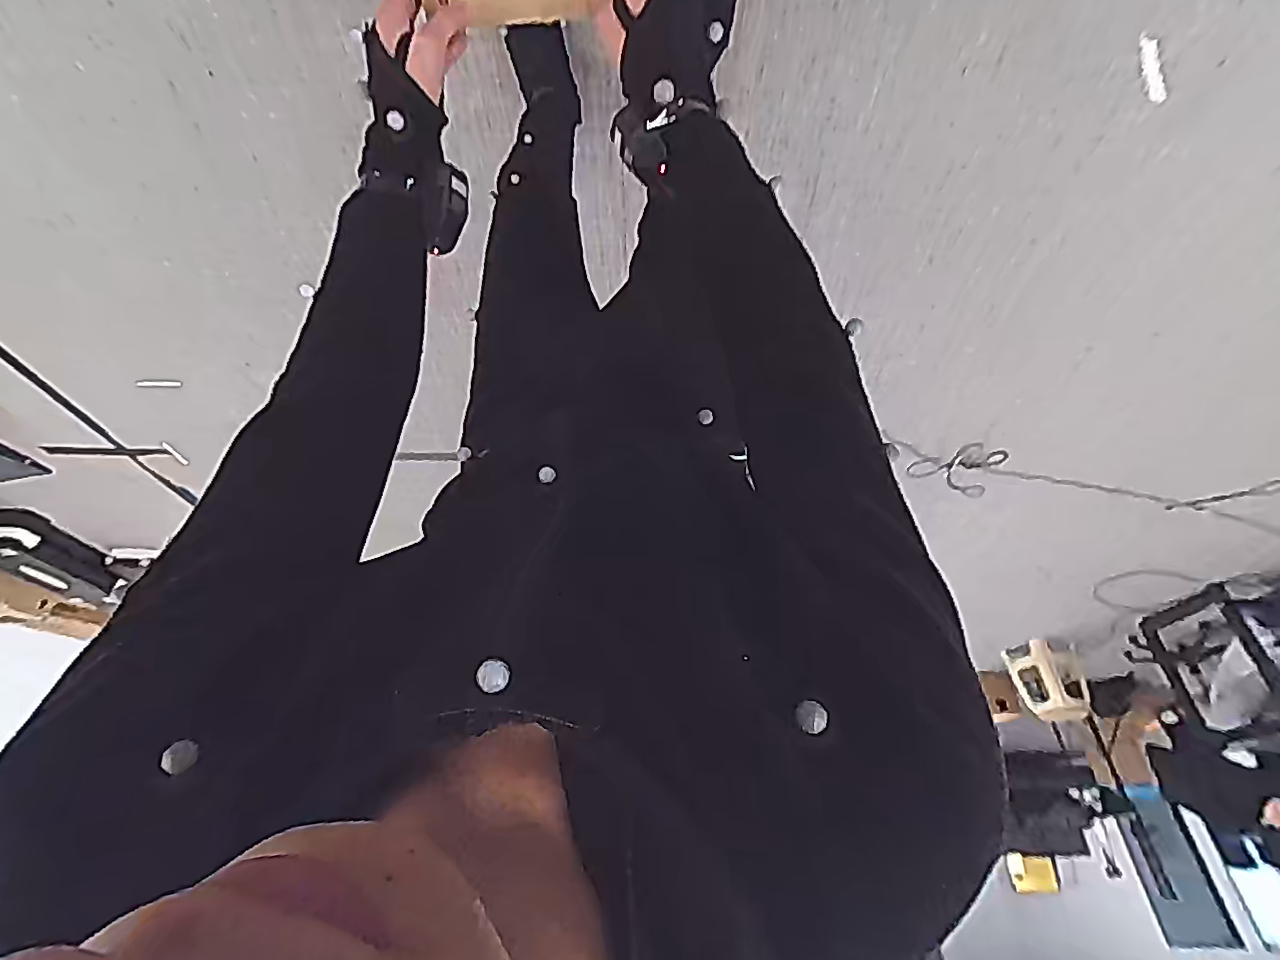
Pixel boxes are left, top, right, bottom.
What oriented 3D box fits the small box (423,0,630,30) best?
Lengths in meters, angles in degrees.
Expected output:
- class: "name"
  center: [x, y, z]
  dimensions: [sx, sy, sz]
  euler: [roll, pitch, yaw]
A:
- class: "small box"
  center: [-0.101, -0.507, 0.458]
  dimensions: [0.179, 0.176, 0.168]
  euler: [-2, 138, 3]
